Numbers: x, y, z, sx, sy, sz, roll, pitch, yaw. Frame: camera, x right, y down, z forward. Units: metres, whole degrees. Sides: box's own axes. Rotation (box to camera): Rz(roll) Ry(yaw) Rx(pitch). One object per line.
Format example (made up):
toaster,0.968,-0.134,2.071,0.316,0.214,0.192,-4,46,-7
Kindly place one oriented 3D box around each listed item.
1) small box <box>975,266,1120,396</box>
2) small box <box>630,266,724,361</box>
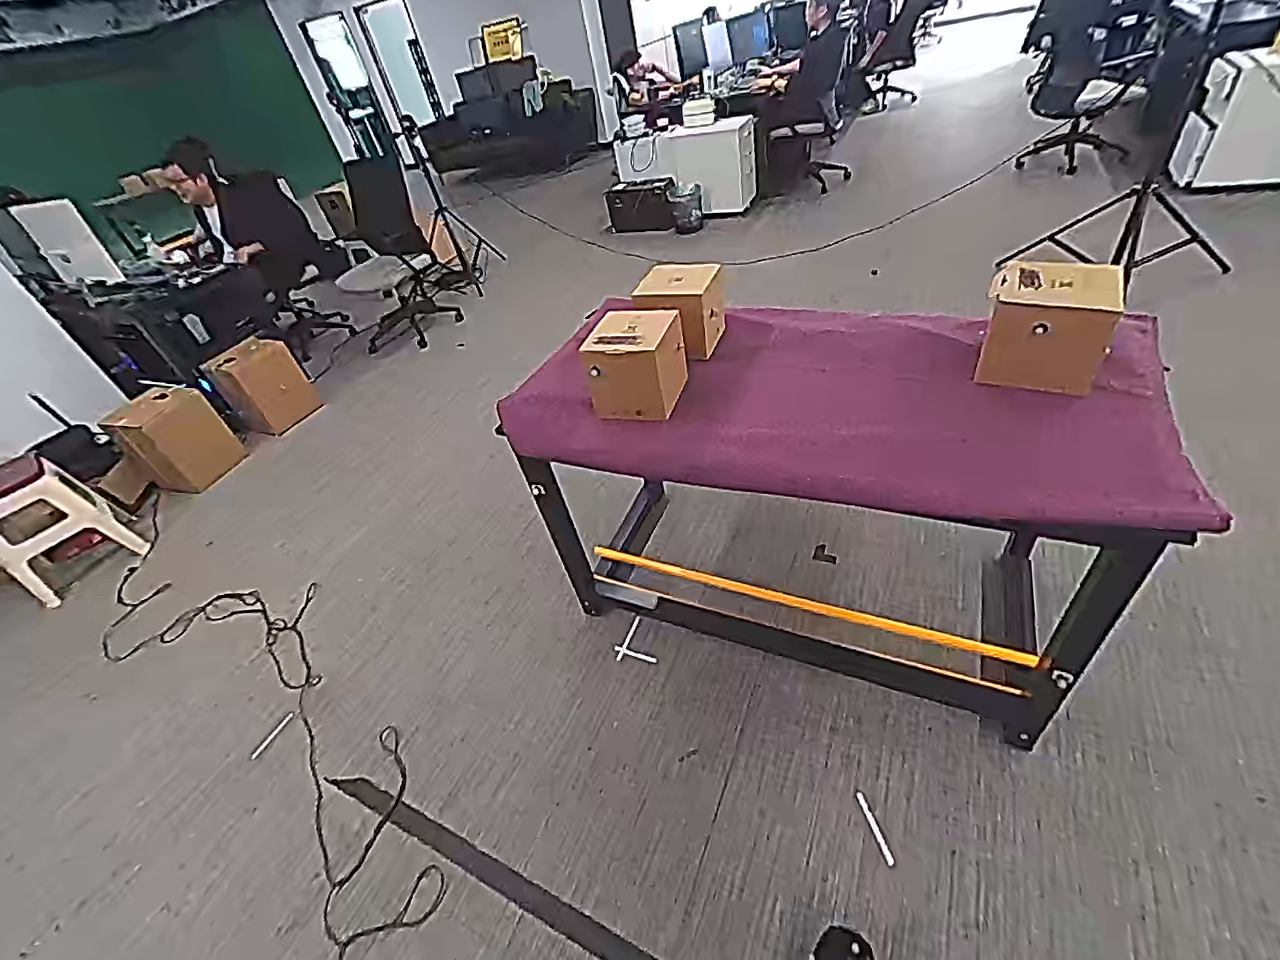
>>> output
small box,0.739,-0.273,0.993,0.179,0.176,0.168,16,50,28
small box,0.099,-0.403,1.316,0.179,0.176,0.168,7,45,22
